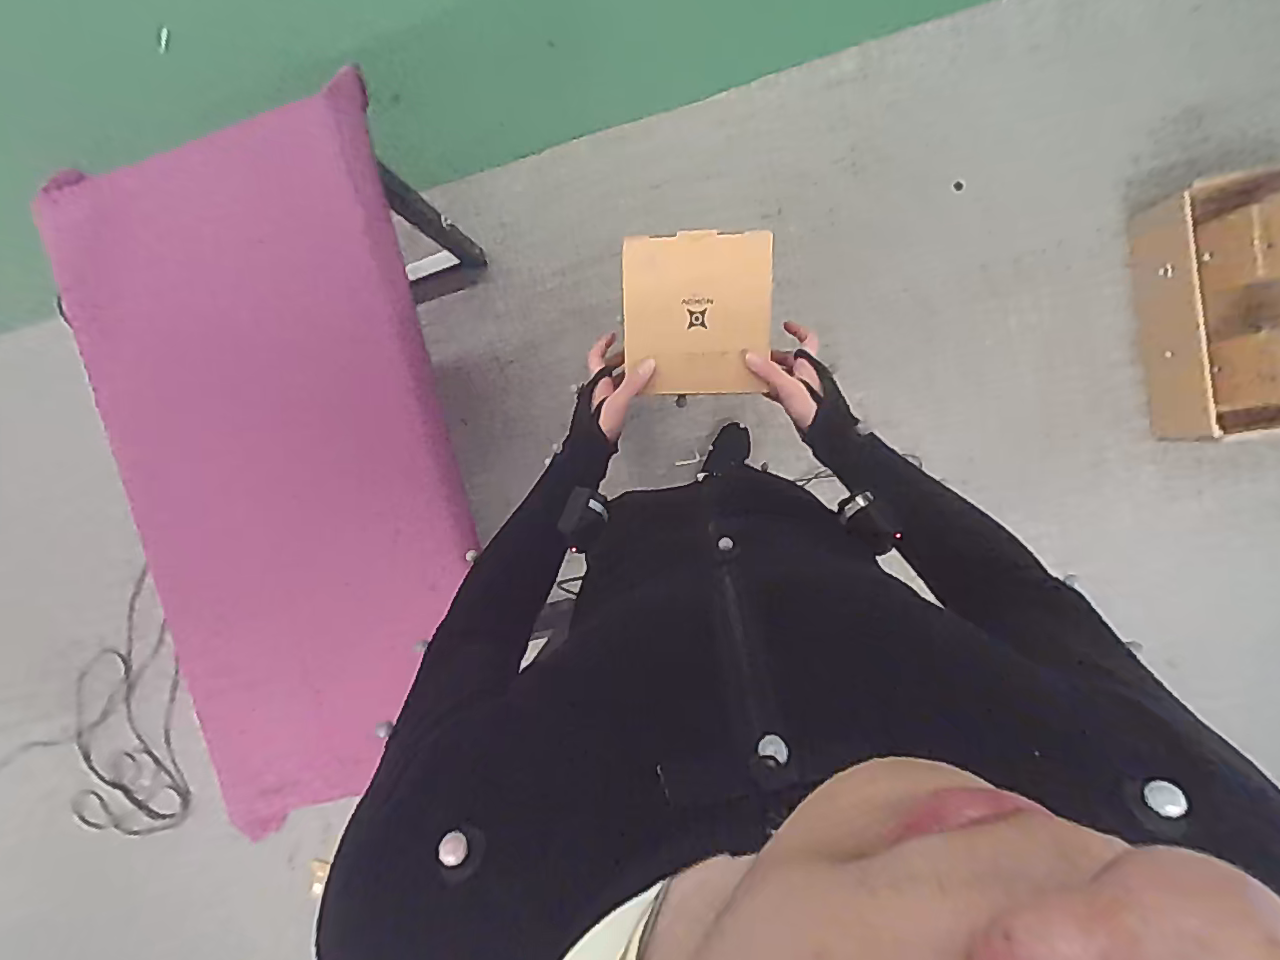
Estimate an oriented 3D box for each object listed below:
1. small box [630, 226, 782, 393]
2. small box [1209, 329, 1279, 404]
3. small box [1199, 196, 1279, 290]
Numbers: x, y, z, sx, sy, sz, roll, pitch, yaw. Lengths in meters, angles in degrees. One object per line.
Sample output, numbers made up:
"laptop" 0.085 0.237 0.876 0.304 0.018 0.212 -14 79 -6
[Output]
"small box" 0.077 -0.198 0.673 0.168 0.176 0.179 0 100 5
"small box" 1.542 -0.280 1.297 0.179 0.176 0.168 -9 93 8
"small box" 1.499 -0.566 1.280 0.179 0.176 0.168 -9 93 6
